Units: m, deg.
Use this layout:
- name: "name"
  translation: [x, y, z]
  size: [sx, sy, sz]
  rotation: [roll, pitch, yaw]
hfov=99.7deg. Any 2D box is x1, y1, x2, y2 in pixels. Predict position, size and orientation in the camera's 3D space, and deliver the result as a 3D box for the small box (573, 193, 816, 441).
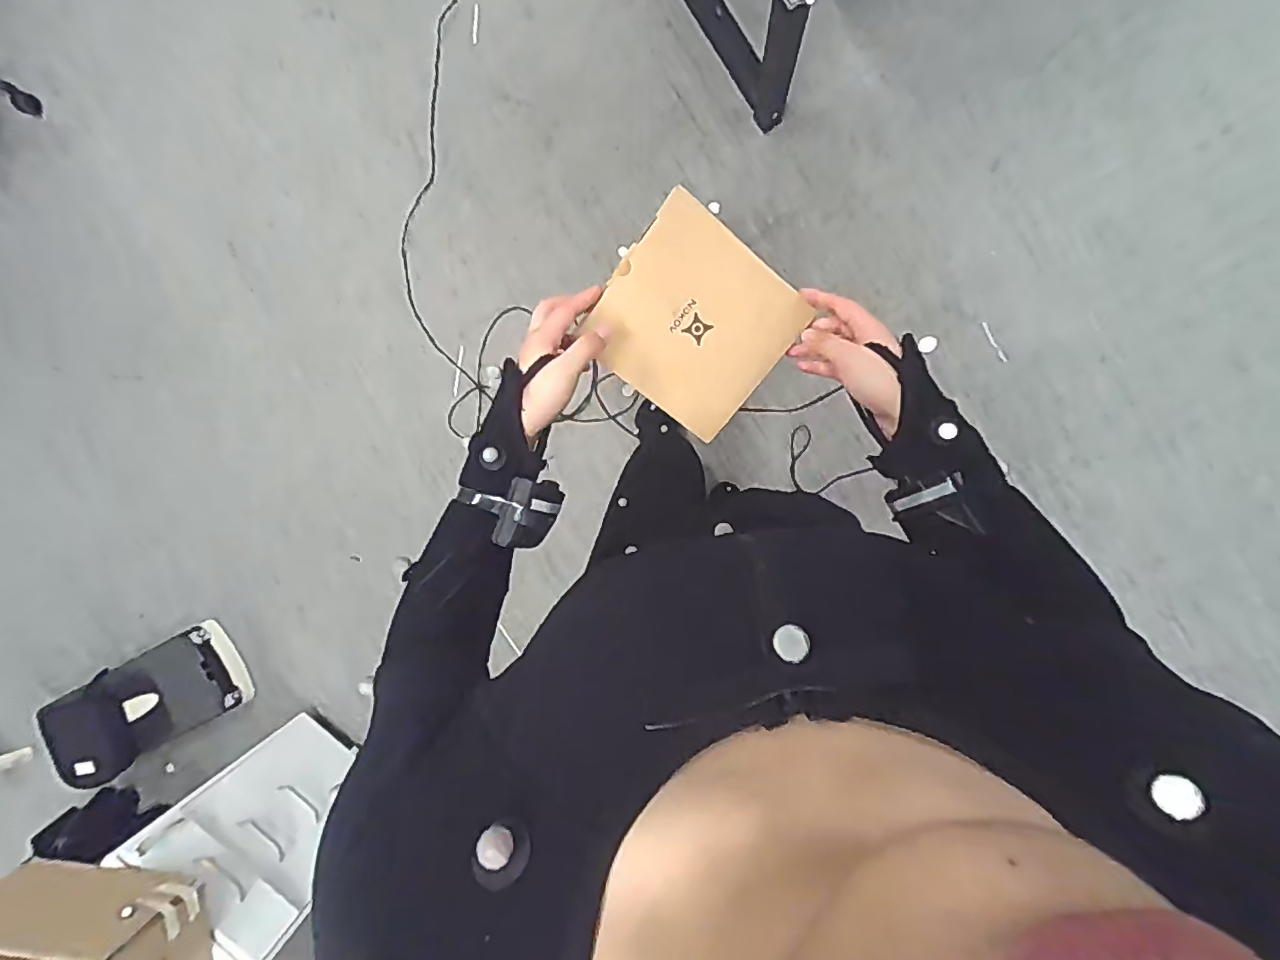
- name: "small box"
  translation: [0.051, -0.175, 0.587]
  size: [0.179, 0.176, 0.168]
  rotation: [35, 106, -13]
